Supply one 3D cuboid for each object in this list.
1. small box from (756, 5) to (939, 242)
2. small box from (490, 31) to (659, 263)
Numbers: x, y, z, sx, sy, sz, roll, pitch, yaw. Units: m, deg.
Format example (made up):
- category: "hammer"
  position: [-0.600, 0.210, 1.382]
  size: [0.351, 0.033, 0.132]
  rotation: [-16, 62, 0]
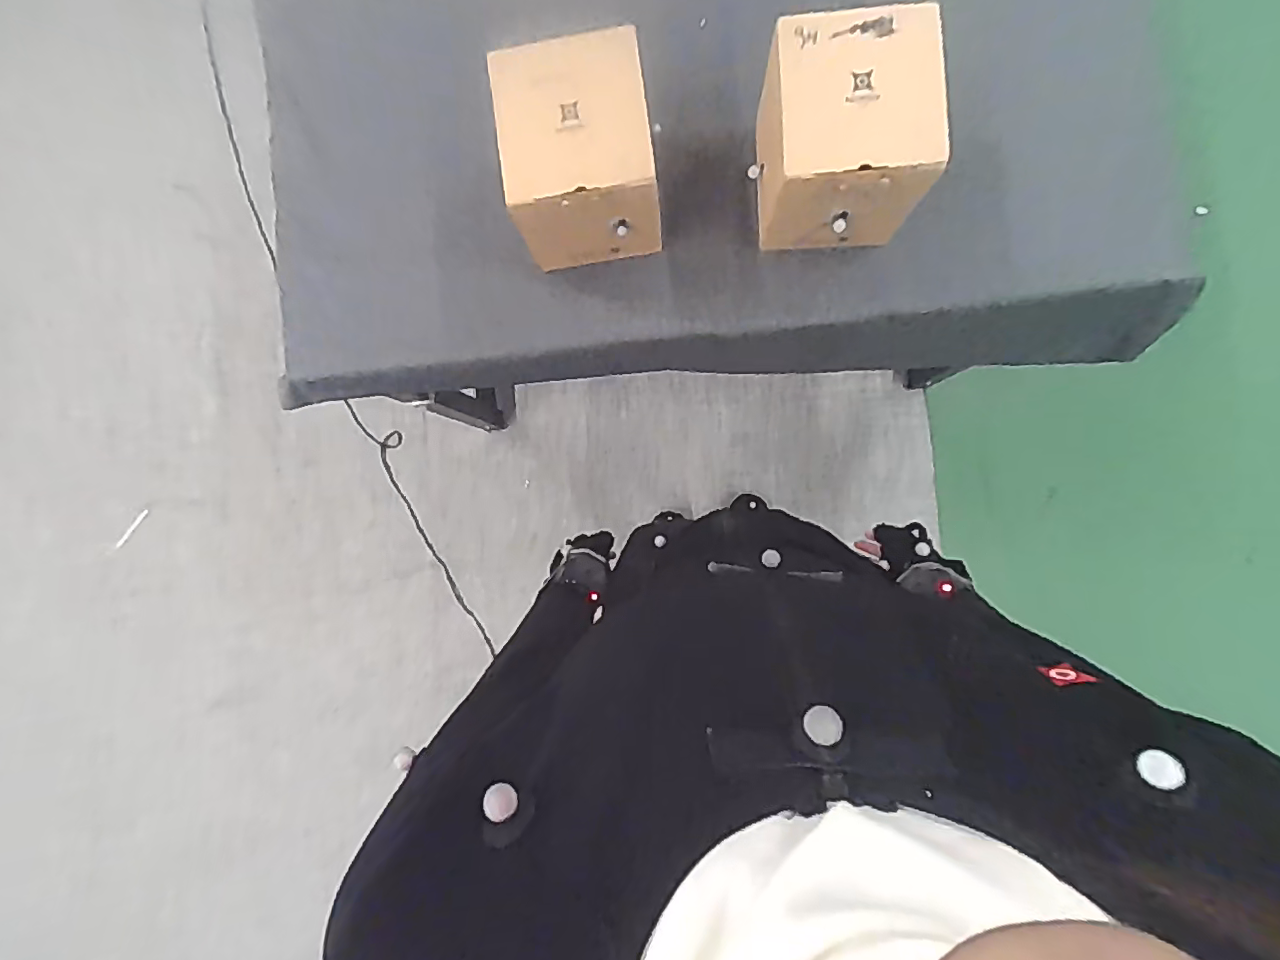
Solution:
- category: "small box"
  position: [0.232, -0.400, 0.643]
  size: [0.168, 0.176, 0.179]
  rotation: [-2, 88, 5]
- category: "small box"
  position: [-0.069, -0.390, 0.670]
  size: [0.168, 0.176, 0.179]
  rotation: [-9, 86, 3]
